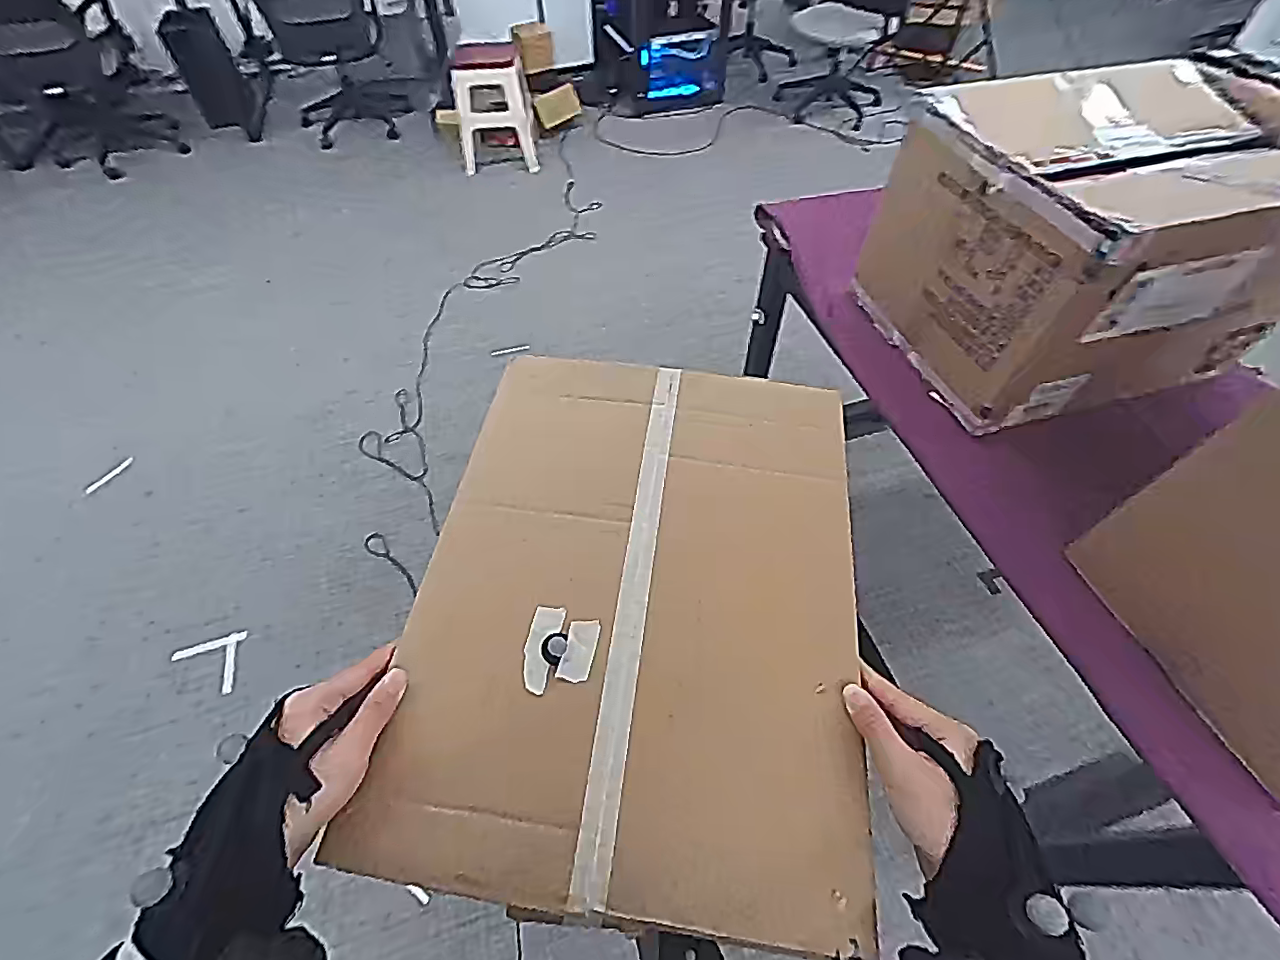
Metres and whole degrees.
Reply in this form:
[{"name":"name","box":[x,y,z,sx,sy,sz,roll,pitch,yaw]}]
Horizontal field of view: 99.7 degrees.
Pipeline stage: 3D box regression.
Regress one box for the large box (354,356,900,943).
[{"name":"large box","box":[0.008,0.142,0.525,0.320,0.320,0.408,6,58,4]}]
